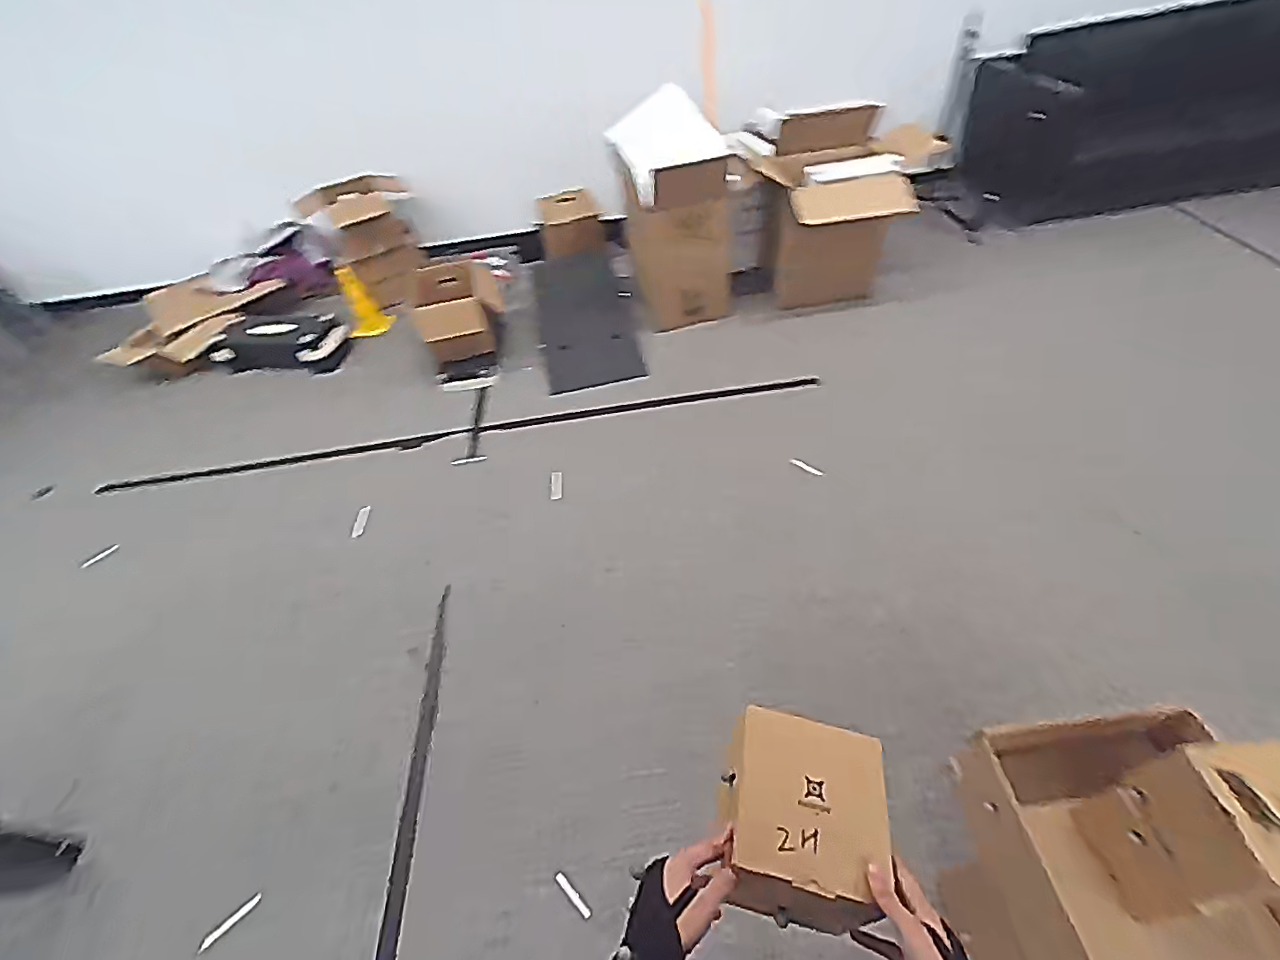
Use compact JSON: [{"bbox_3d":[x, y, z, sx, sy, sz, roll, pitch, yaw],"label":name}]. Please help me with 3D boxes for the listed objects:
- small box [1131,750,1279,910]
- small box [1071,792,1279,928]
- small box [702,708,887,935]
[{"bbox_3d":[0.858,0.497,0.765,0.179,0.176,0.168,-4,48,3],"label":"small box"},{"bbox_3d":[0.872,0.611,0.883,0.179,0.176,0.168,-9,47,-2],"label":"small box"},{"bbox_3d":[0.177,0.415,0.659,0.168,0.176,0.179,13,44,5],"label":"small box"}]
